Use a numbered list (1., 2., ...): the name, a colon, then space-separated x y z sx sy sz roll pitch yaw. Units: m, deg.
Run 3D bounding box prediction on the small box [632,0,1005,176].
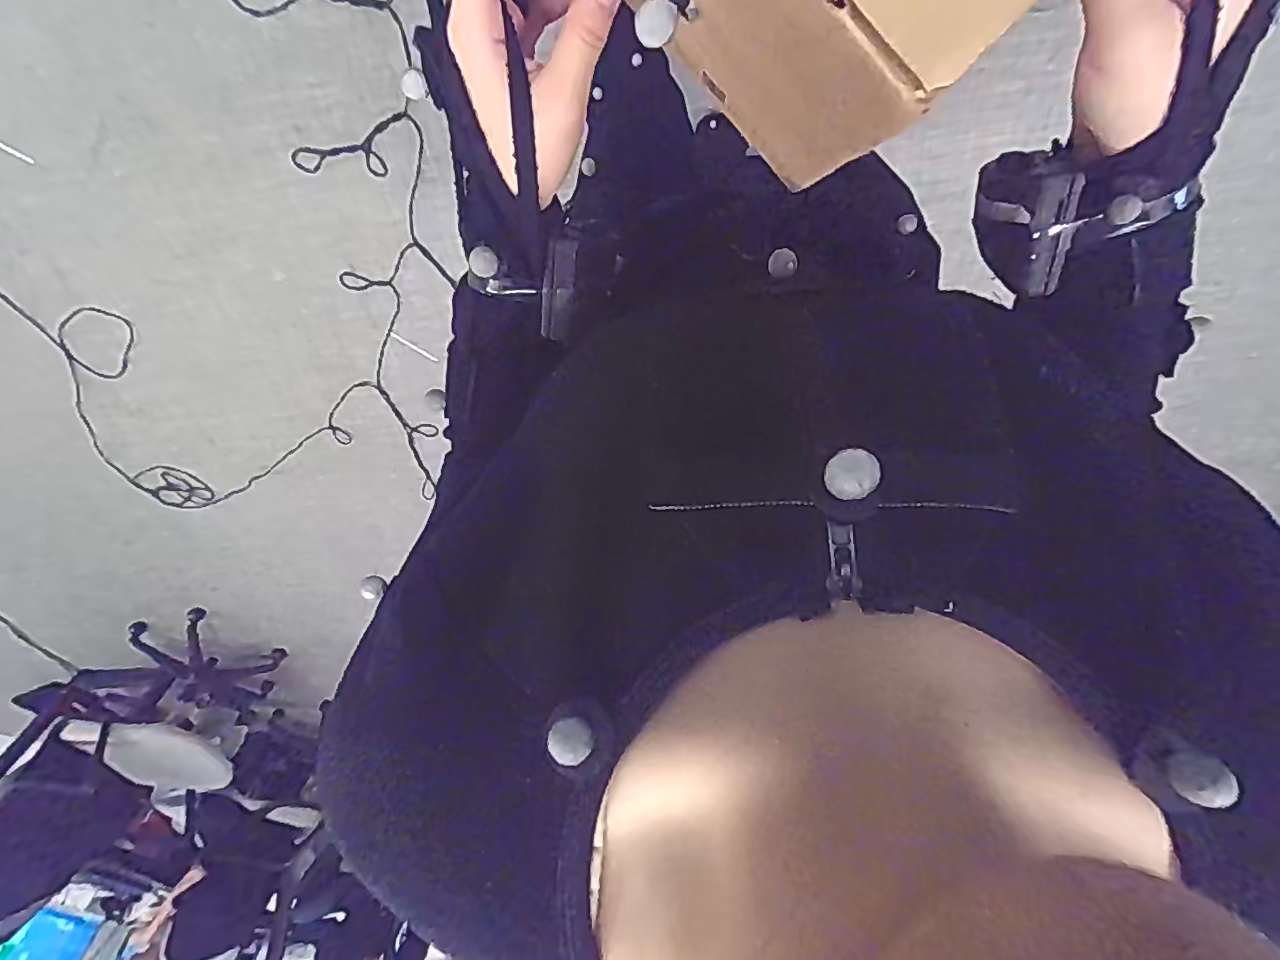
1. small box: 0.070 -0.228 0.165 0.168 0.176 0.179 41 111 -11
